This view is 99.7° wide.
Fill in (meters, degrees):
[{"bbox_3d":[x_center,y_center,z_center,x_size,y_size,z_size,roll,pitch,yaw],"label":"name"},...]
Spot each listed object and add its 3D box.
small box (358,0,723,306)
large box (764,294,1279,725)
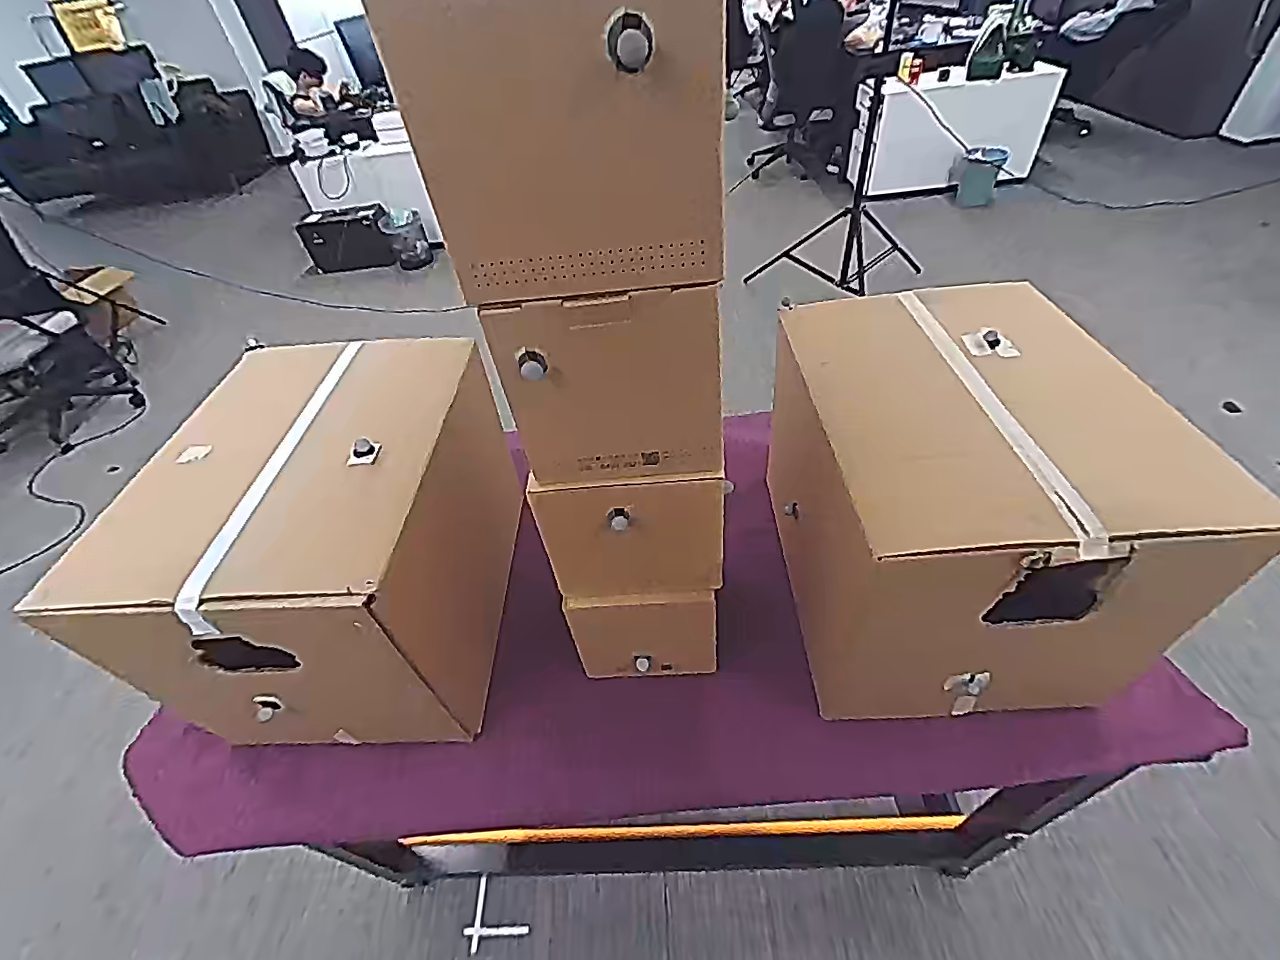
[{"bbox_3d":[-0.039,-0.234,0.360,0.179,0.176,0.168,-4,43,6],"label":"small box"},{"bbox_3d":[0.342,0.024,0.649,0.320,0.320,0.408,-5,43,3],"label":"large box"}]
